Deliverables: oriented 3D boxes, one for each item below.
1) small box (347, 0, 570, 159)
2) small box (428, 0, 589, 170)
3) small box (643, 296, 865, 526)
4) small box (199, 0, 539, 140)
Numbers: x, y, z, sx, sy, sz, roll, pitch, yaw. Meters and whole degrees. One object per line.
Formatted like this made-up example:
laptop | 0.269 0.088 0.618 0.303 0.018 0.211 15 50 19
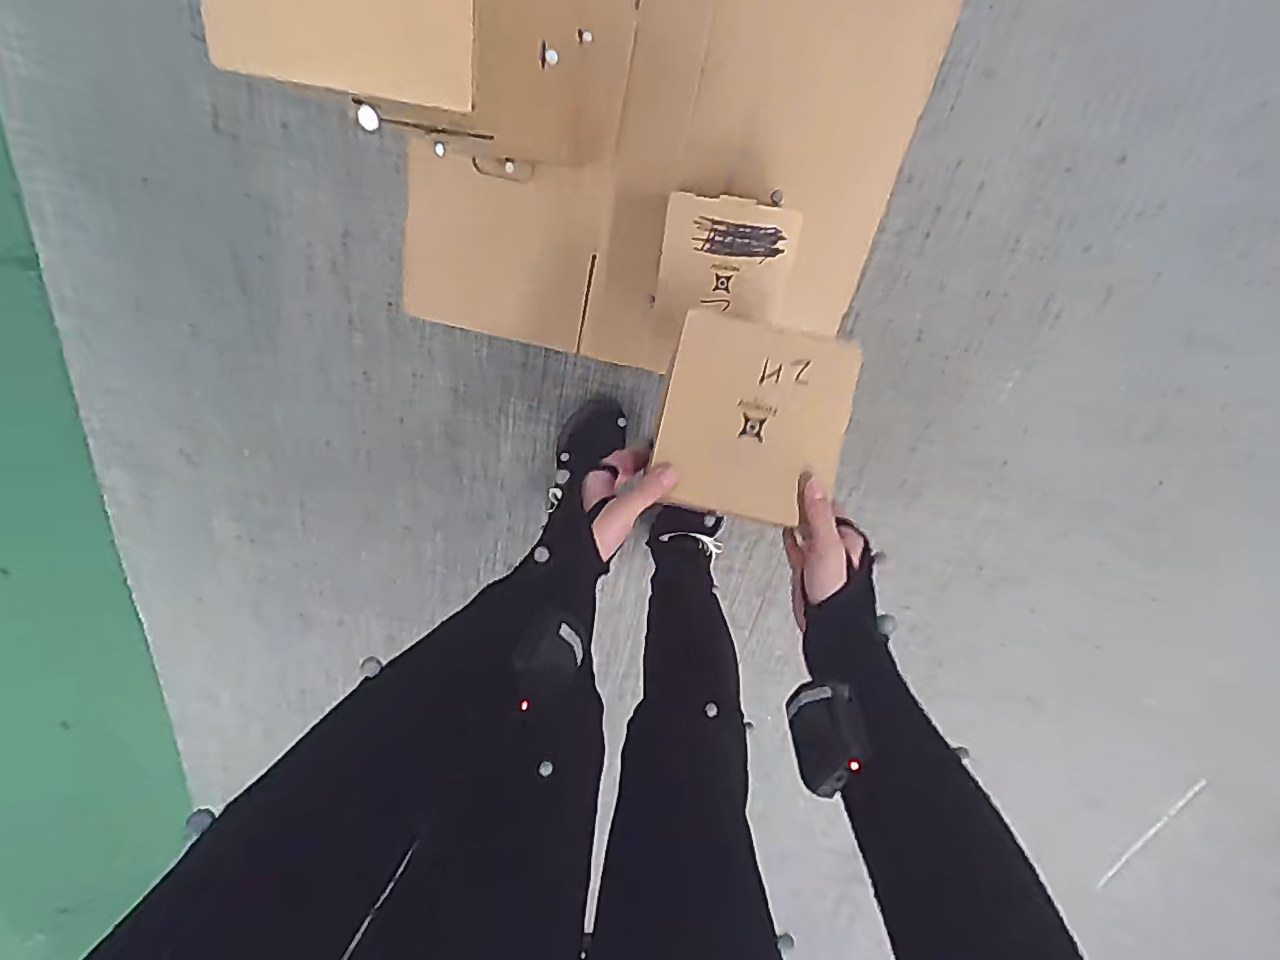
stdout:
small box | -0.165 -0.423 0.518 0.168 0.176 0.179 8 115 -1
small box | -0.157 -0.494 0.665 0.168 0.176 0.179 5 116 1
small box | 0.101 -0.059 0.556 0.168 0.176 0.179 13 87 -1
small box | -0.168 -0.353 0.372 0.168 0.176 0.179 9 115 -1
